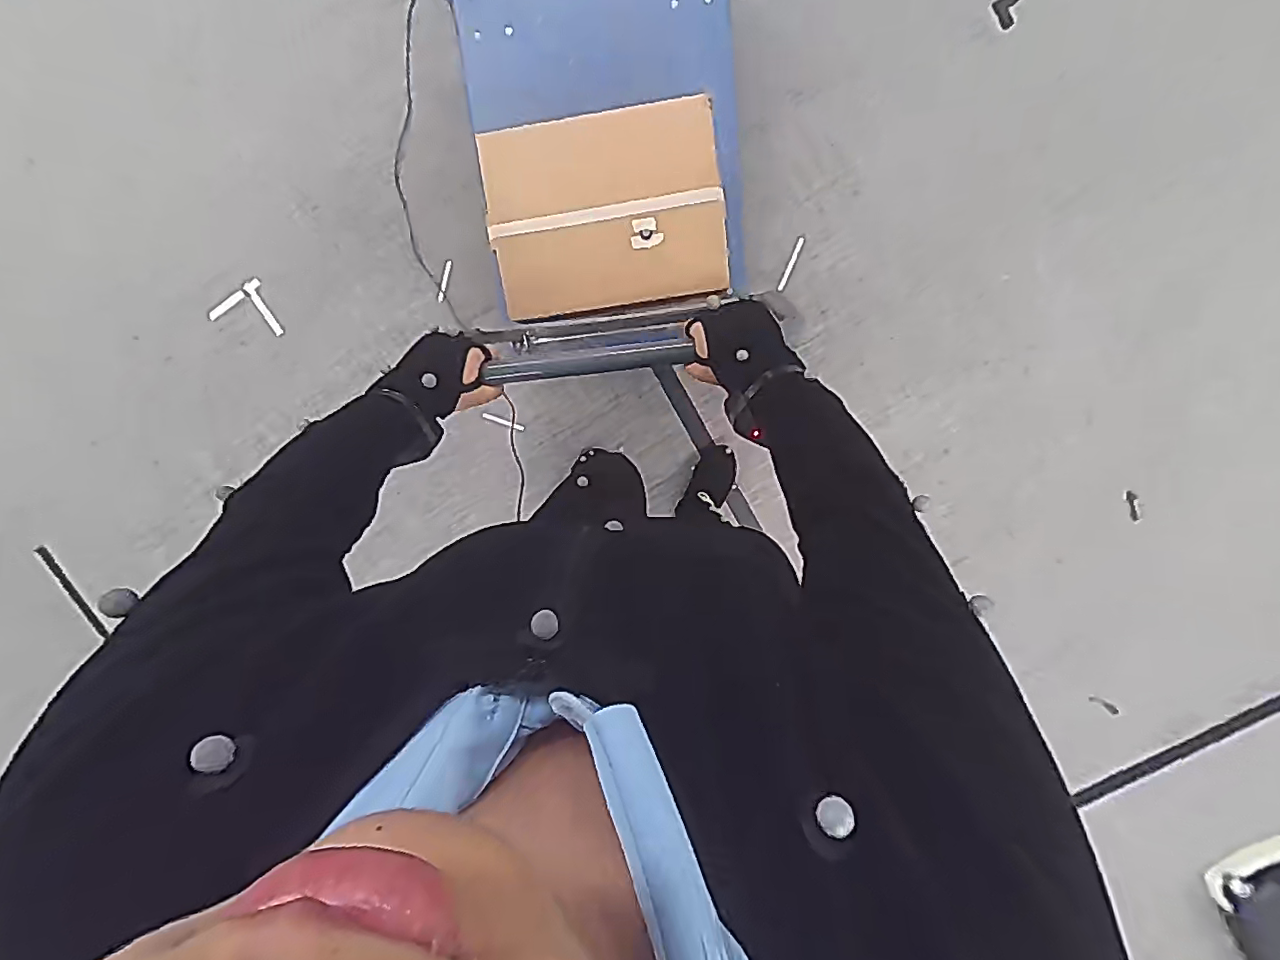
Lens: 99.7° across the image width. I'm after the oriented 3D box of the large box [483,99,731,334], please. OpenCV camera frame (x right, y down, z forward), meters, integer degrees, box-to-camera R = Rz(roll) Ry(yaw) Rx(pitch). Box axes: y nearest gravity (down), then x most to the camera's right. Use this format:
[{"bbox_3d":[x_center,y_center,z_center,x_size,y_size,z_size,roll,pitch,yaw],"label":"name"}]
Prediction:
[{"bbox_3d":[-0.051,-0.495,1.100,0.408,0.320,0.320,-9,103,3],"label":"large box"}]
